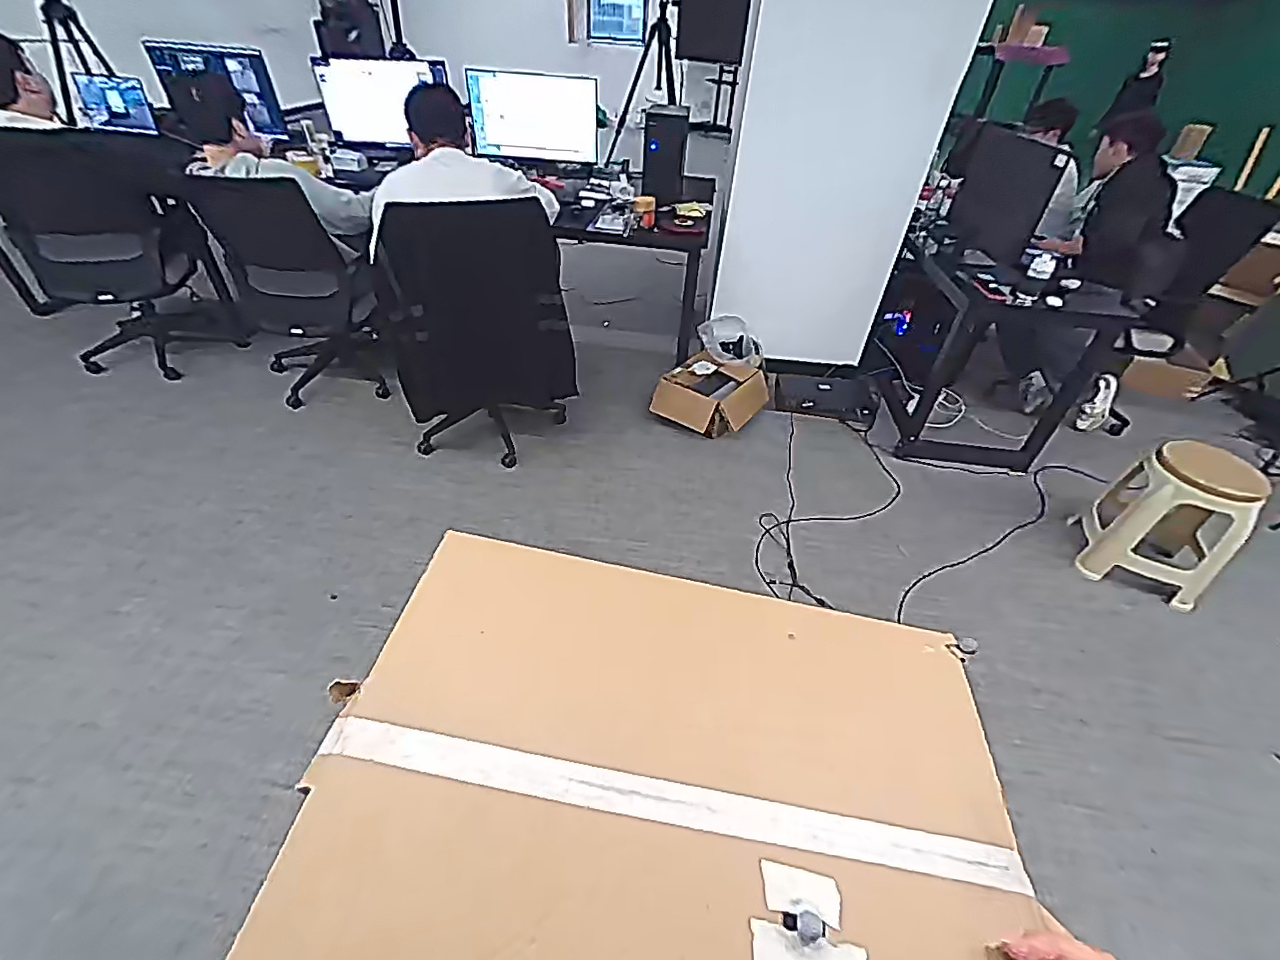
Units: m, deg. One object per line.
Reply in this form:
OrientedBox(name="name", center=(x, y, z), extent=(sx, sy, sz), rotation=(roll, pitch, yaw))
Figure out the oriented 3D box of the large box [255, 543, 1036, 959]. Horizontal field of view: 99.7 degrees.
OrientedBox(name="large box", center=(0.003, 0.296, 0.428), extent=(0.408, 0.320, 0.320), rotation=(13, 46, -1))
